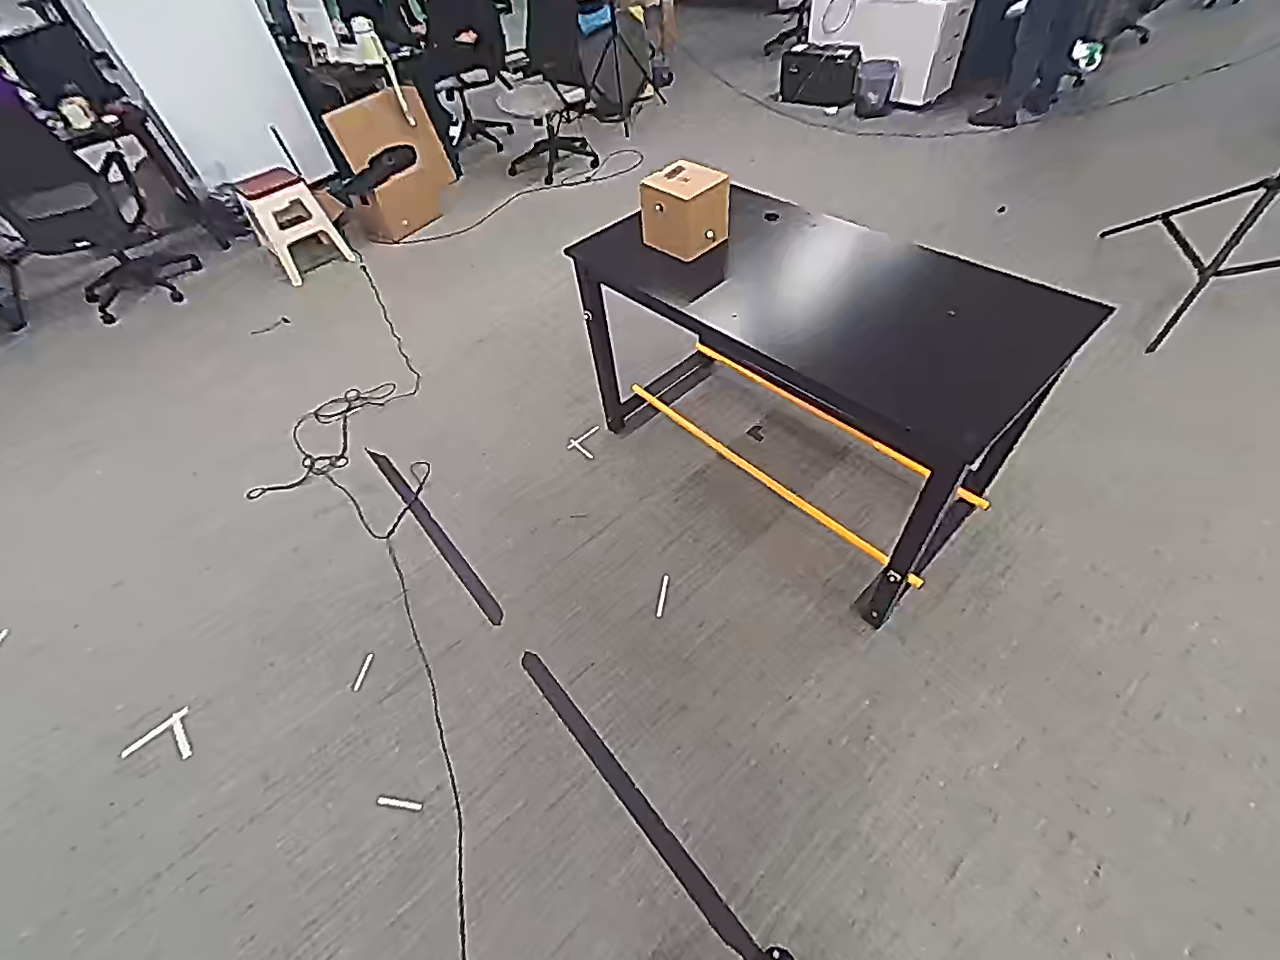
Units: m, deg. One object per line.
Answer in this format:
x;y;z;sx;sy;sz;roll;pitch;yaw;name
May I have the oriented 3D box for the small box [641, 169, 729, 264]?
0.123;-0.718;1.478;0.168;0.176;0.179;-39;57;-23;small box
